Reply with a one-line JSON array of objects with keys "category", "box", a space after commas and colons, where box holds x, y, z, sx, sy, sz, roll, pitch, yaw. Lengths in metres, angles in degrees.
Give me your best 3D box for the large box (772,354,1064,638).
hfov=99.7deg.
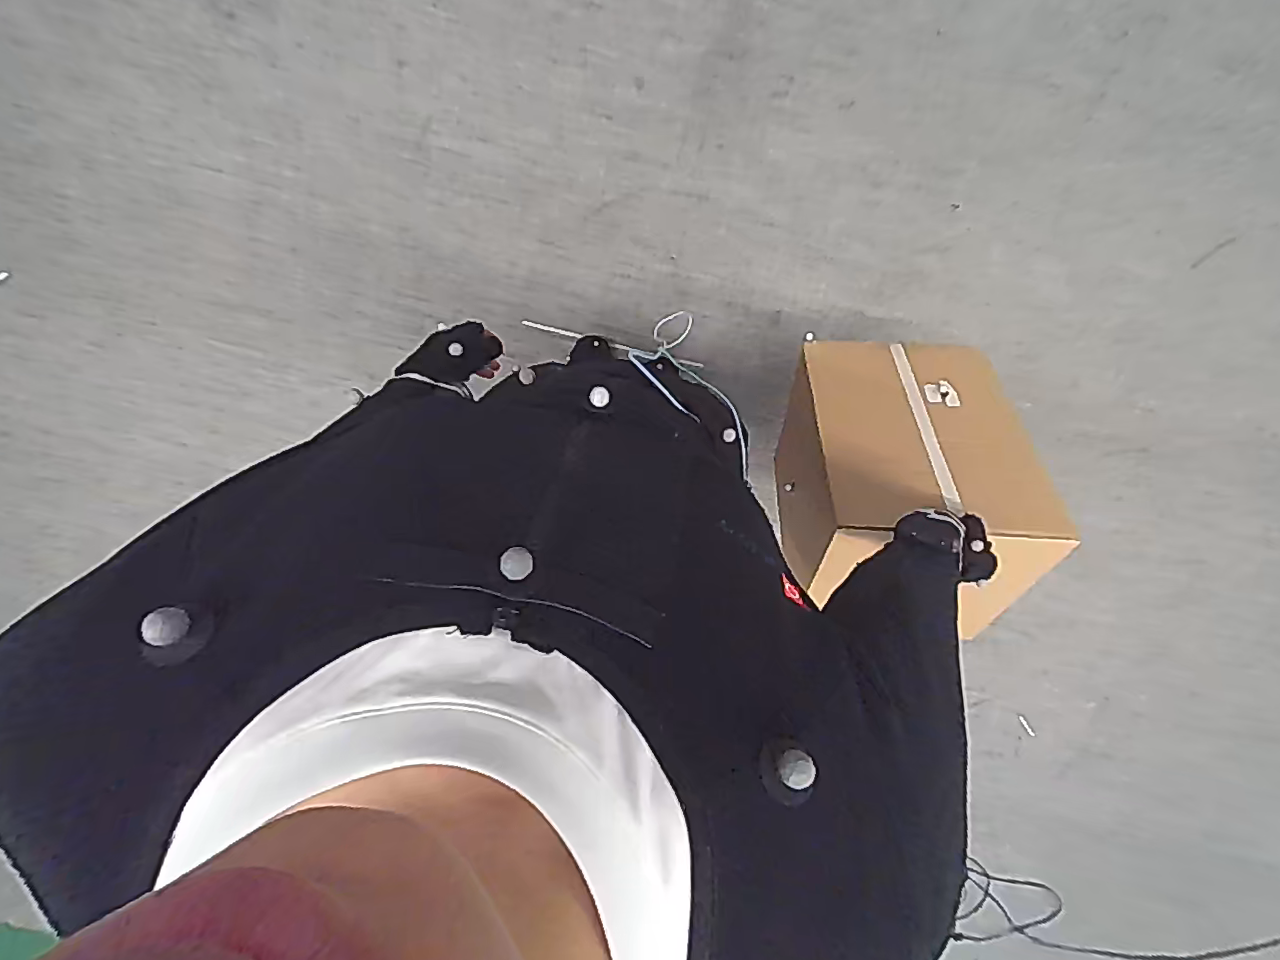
[{"category": "large box", "box": [0.427, 0.028, 0.960, 0.320, 0.408, 0.320, 3, 139, 3]}]
